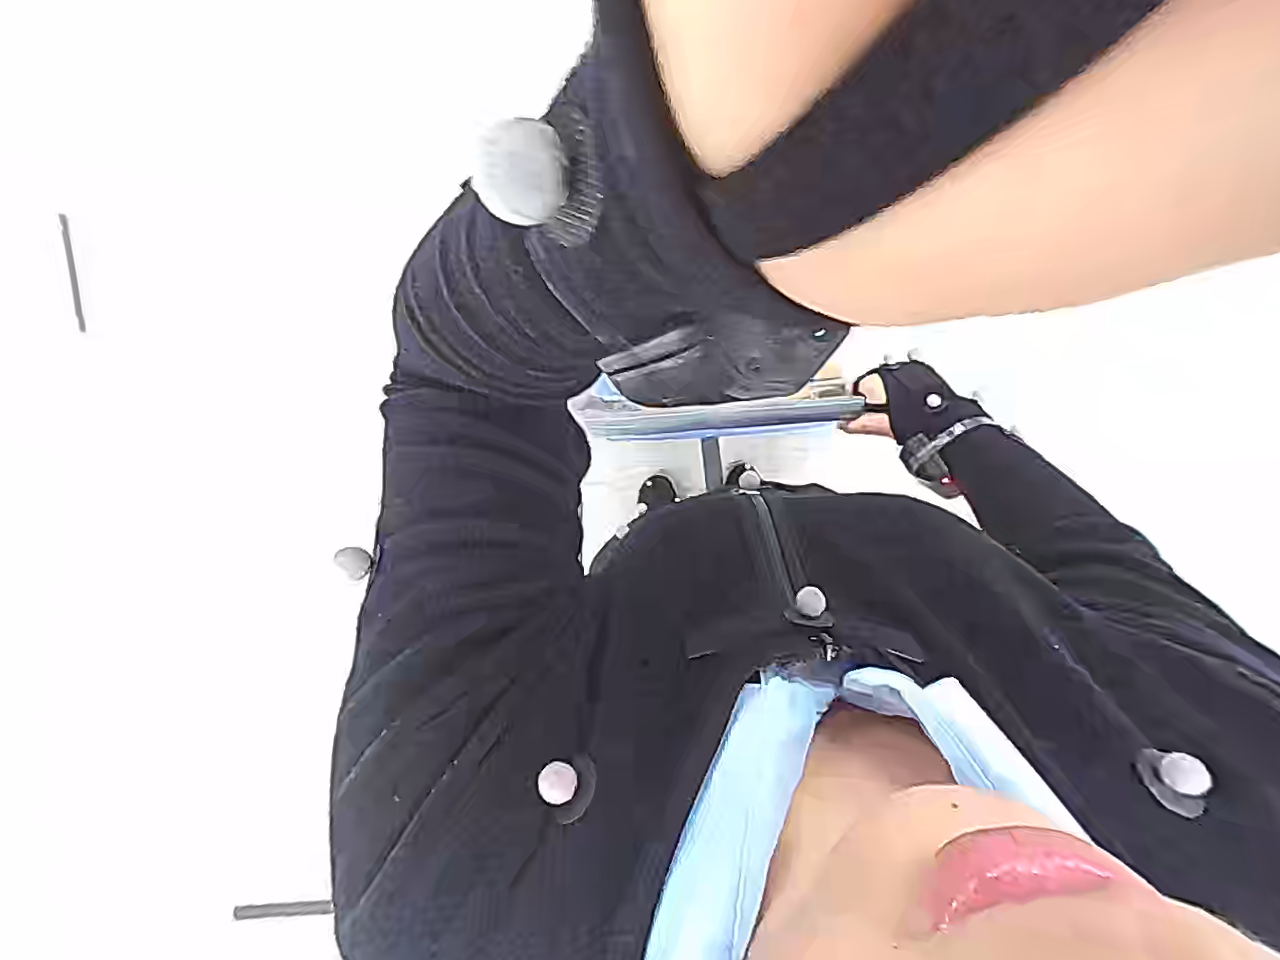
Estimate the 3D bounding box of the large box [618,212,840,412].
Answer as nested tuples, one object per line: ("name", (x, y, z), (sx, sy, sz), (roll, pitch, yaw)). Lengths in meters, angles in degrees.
("large box", (0.177, -0.337, 1.180), (0.408, 0.320, 0.320), (-5, 91, 4))
